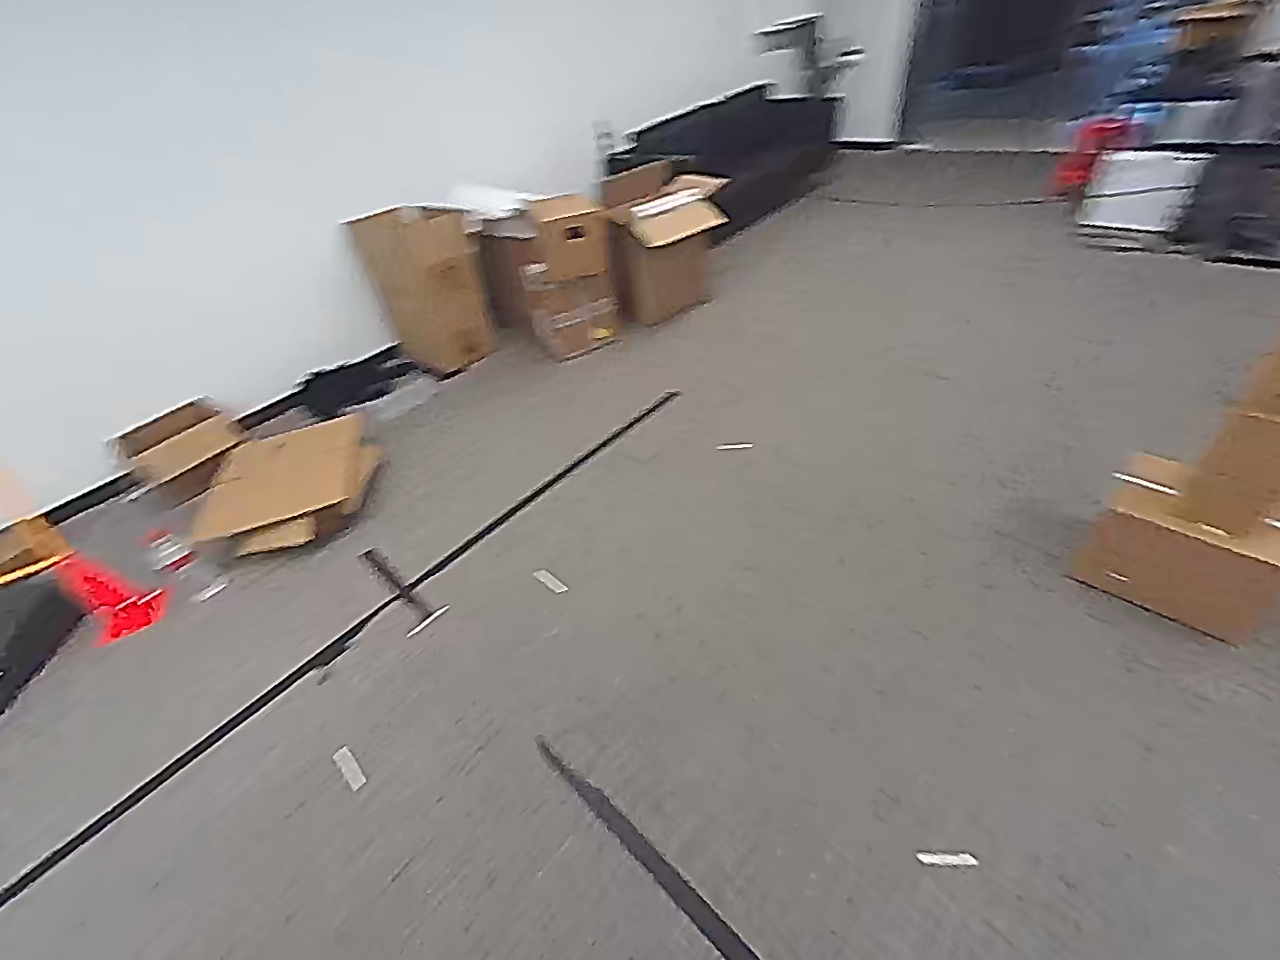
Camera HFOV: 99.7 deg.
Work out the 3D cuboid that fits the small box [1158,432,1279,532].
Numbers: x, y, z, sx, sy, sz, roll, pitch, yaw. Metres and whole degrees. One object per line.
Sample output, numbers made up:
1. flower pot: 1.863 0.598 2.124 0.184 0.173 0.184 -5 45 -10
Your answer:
1. small box: 1.512 0.006 1.414 0.179 0.176 0.168 26 54 34
